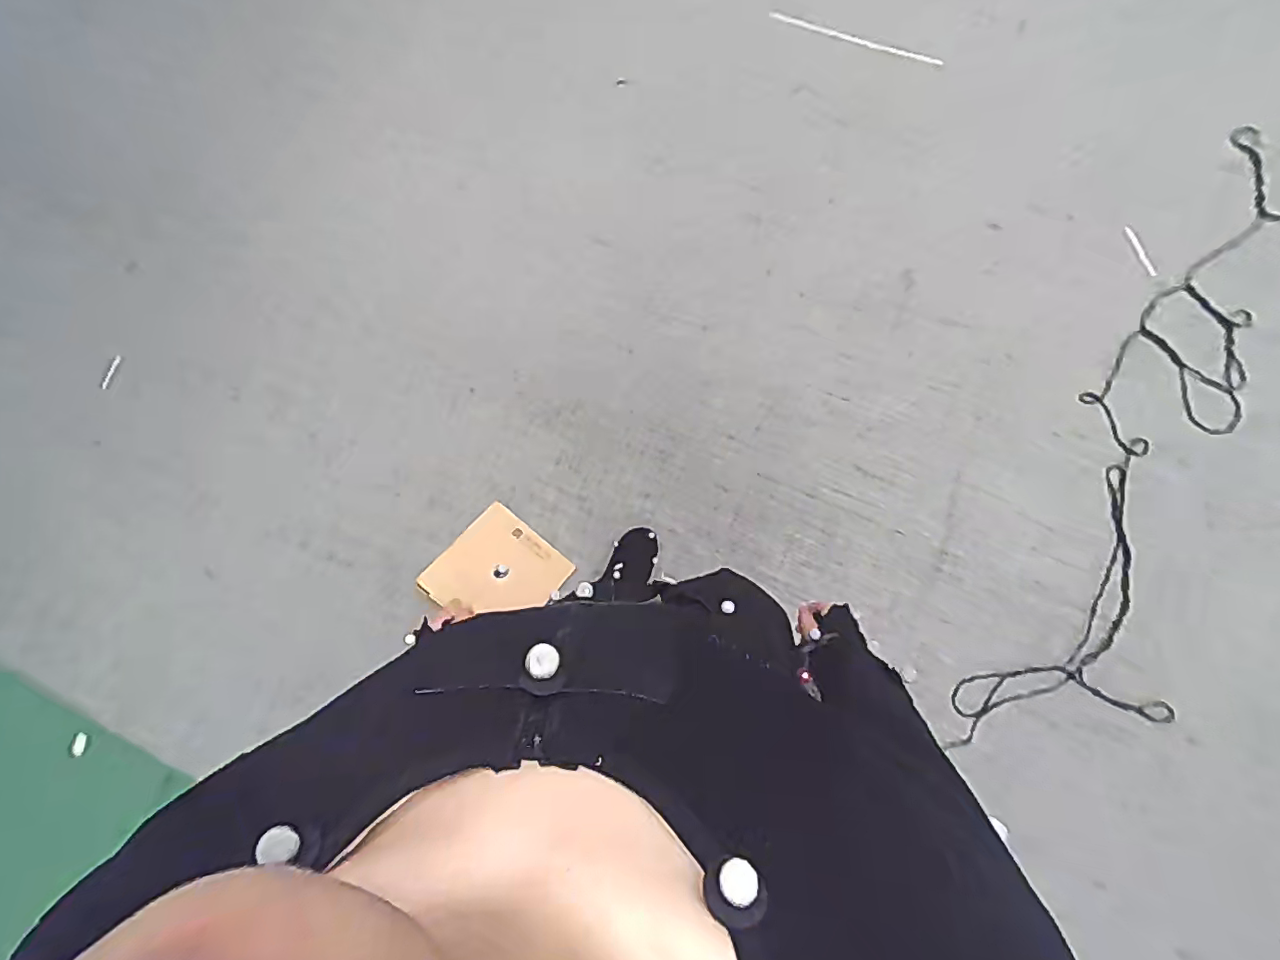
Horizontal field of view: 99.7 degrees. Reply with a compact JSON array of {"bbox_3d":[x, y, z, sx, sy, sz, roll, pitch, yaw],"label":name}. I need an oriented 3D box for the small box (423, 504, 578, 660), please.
[{"bbox_3d":[-0.221,0.165,0.871,0.168,0.179,0.176,41,62,2],"label":"small box"}]
